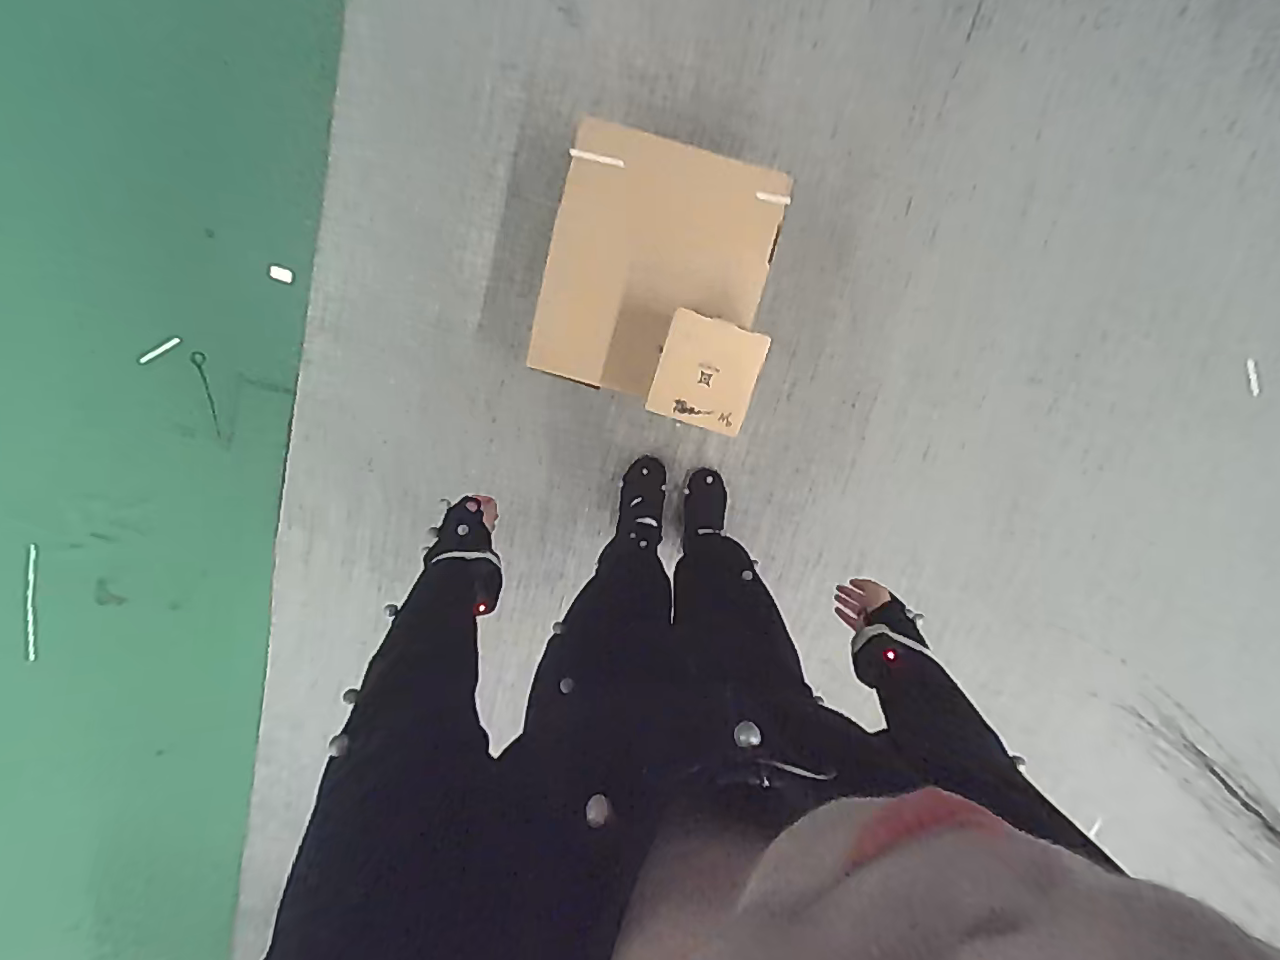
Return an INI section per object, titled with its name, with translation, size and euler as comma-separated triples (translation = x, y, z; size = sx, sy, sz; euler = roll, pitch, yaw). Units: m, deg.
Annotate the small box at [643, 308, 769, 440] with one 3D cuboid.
[small box]
translation = 0.105, -0.187, 0.965
size = 0.168, 0.176, 0.179
euler = 18, 100, -4
